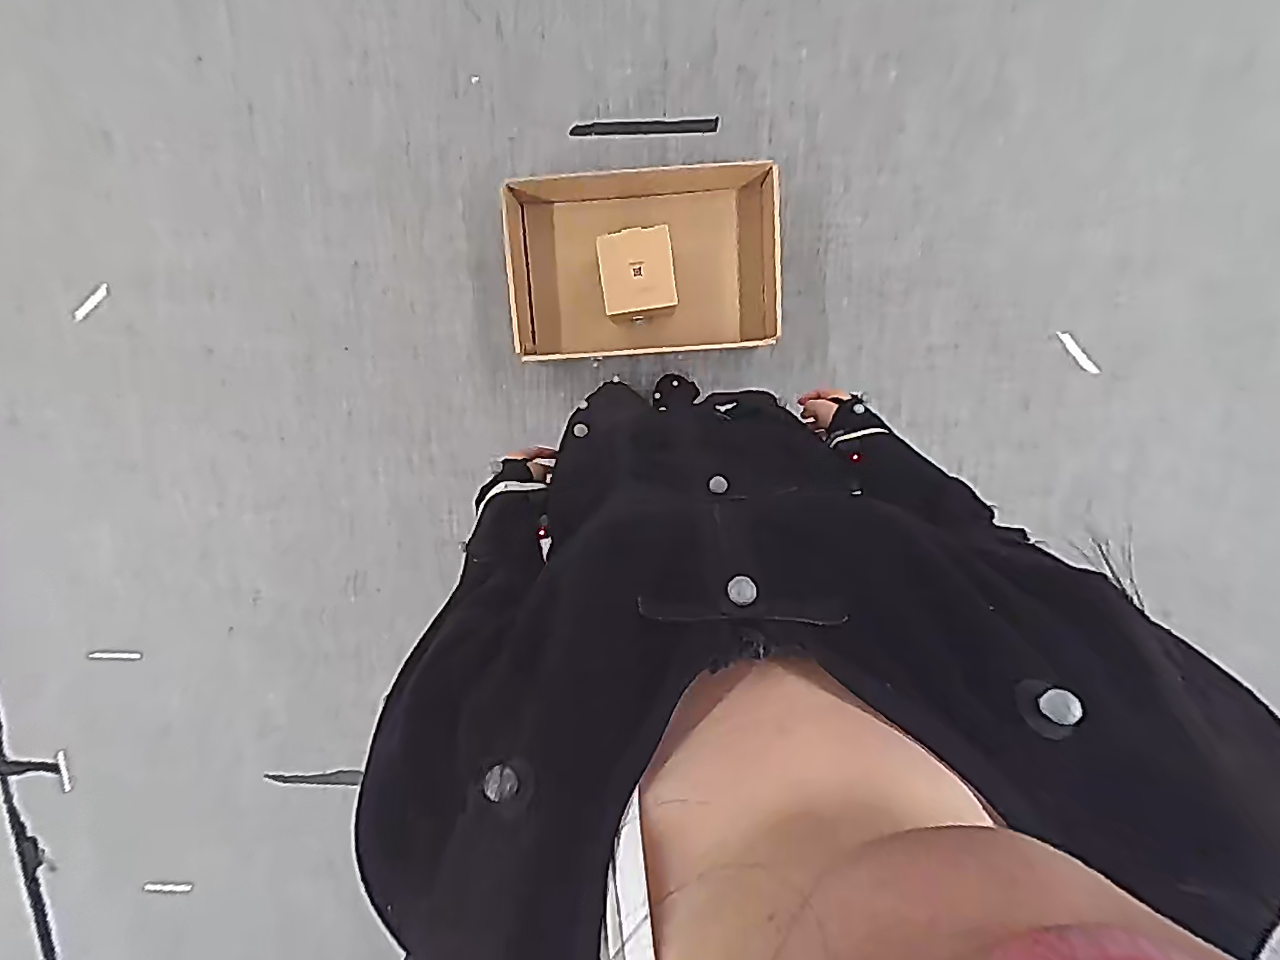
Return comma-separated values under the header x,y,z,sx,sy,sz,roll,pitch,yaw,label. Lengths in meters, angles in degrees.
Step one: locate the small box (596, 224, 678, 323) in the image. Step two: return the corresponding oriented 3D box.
x,y,z,sx,sy,sz,roll,pitch,yaw,label
-0.006,-0.482,1.284,0.168,0.176,0.179,-8,100,3,small box
